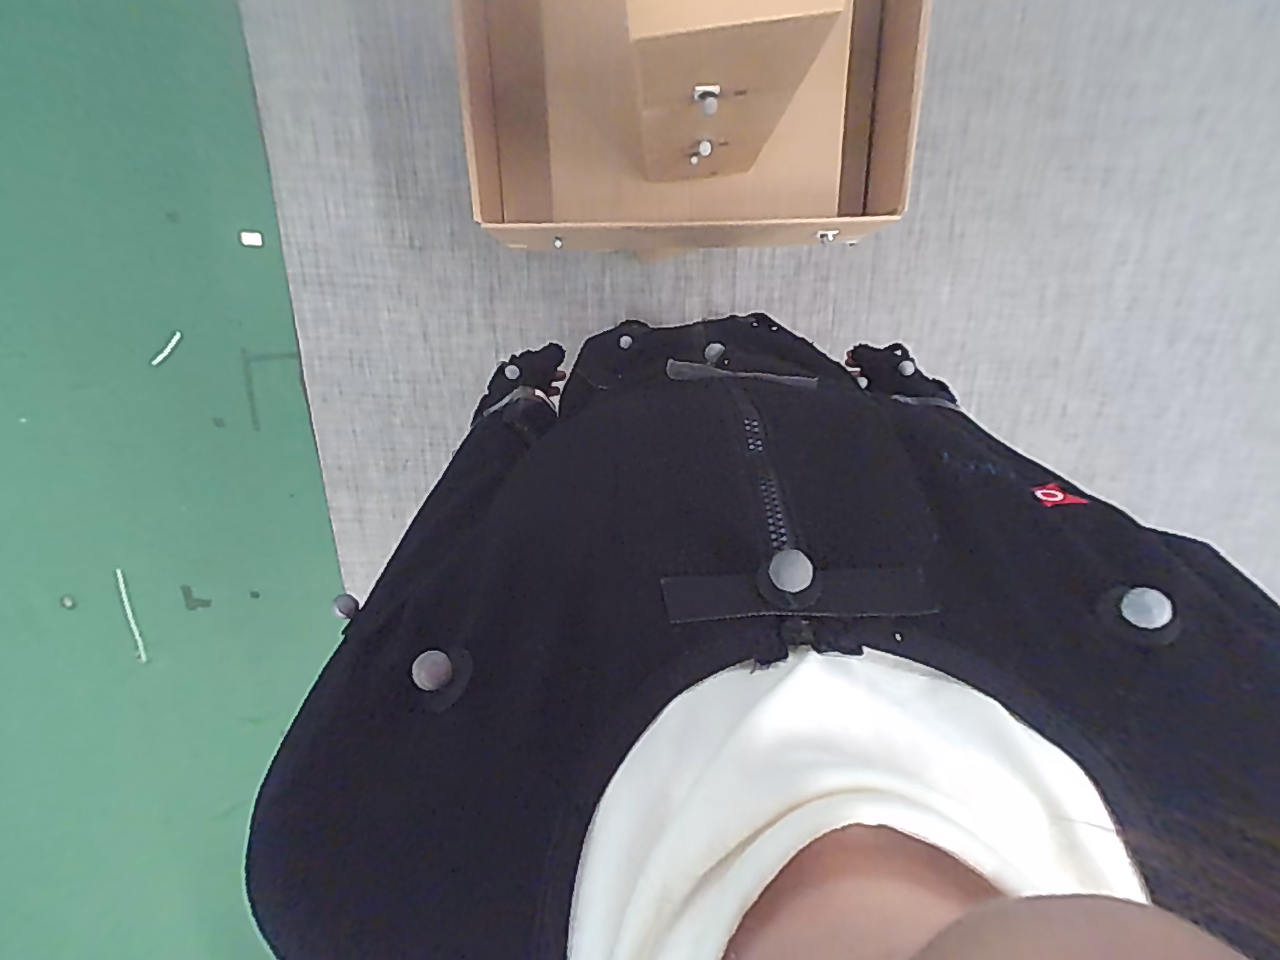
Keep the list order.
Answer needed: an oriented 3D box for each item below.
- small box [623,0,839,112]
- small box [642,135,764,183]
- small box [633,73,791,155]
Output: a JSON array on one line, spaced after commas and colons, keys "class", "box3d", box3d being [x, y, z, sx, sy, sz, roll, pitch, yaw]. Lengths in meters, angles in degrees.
[{"class": "small box", "box3d": [0.066, -0.455, 0.467, 0.168, 0.176, 0.179, -4, 107, 5]}, {"class": "small box", "box3d": [0.082, -0.553, 0.777, 0.168, 0.176, 0.179, -4, 106, 5]}, {"class": "small box", "box3d": [0.073, -0.502, 0.622, 0.168, 0.176, 0.179, -4, 107, 4]}]
